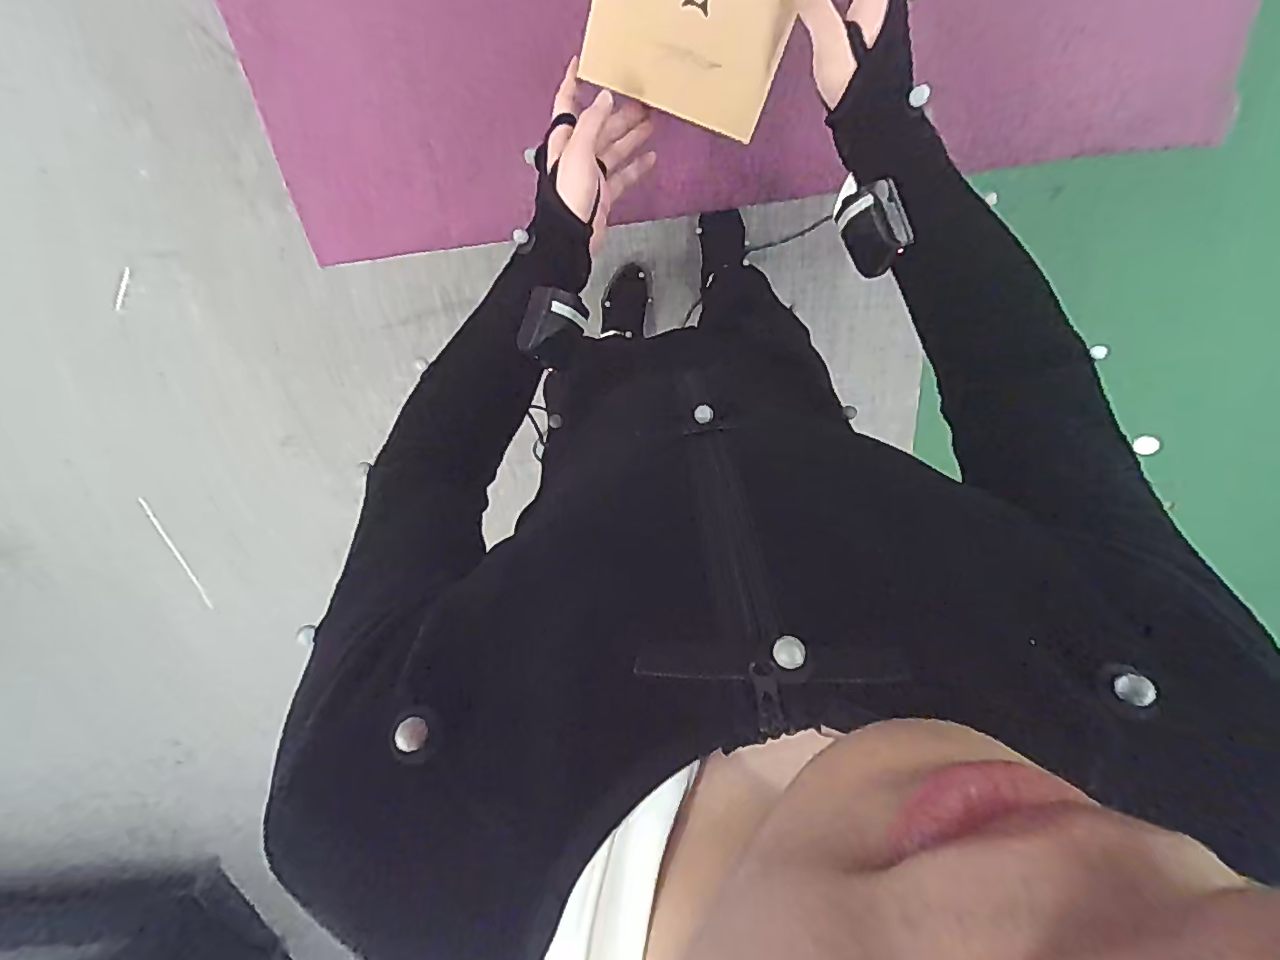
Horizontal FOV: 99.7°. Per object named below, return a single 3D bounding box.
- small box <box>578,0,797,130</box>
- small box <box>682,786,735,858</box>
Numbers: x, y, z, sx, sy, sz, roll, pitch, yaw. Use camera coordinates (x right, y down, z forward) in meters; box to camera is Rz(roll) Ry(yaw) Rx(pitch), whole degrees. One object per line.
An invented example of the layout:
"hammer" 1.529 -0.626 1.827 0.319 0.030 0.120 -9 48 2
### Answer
"small box" 0.049 -0.453 0.497 0.168 0.176 0.179 16 124 -10
"small box" 0.256 1.301 2.064 0.179 0.176 0.168 5 118 0
